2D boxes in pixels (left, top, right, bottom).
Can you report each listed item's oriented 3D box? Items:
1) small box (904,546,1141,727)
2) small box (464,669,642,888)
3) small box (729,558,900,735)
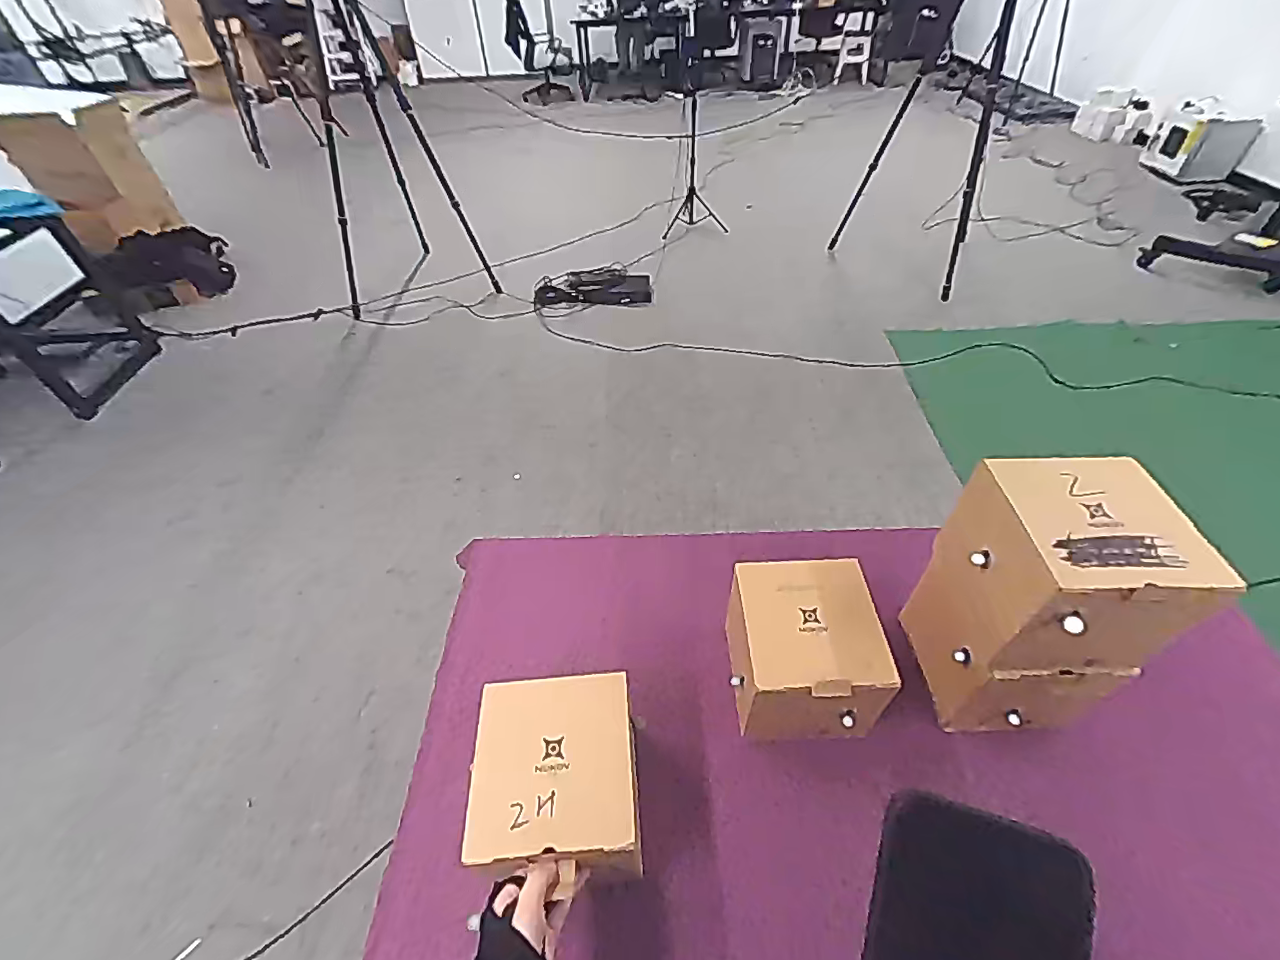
[{"bbox_3d":[0.479,0.207,0.717,0.168,0.176,0.179,-3,47,2],"label":"small box"},{"bbox_3d":[-0.087,0.343,0.622,0.168,0.176,0.179,-5,45,-1],"label":"small box"},{"bbox_3d":[0.214,0.226,0.719,0.168,0.176,0.179,-2,46,1],"label":"small box"}]
